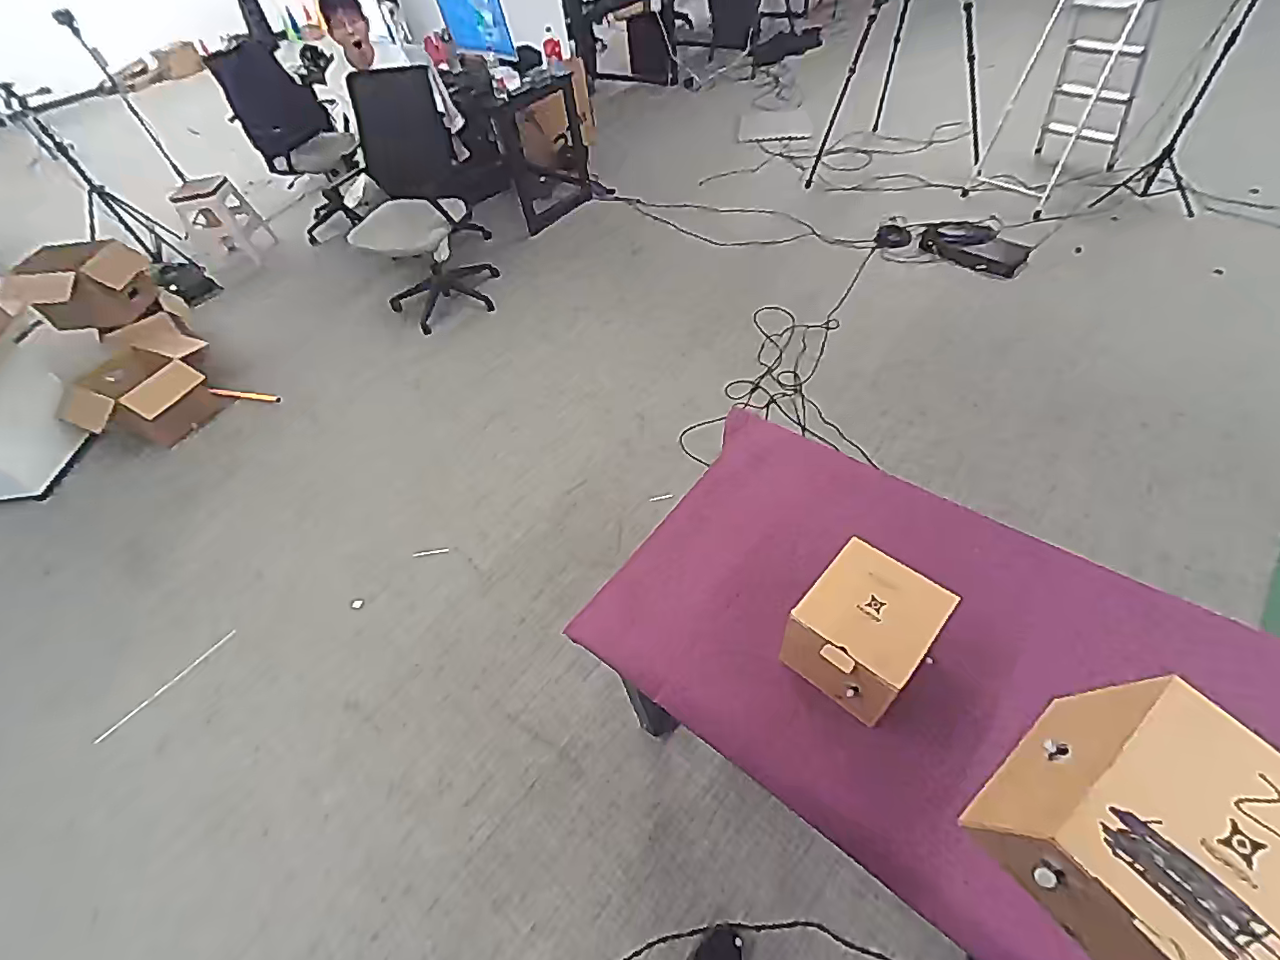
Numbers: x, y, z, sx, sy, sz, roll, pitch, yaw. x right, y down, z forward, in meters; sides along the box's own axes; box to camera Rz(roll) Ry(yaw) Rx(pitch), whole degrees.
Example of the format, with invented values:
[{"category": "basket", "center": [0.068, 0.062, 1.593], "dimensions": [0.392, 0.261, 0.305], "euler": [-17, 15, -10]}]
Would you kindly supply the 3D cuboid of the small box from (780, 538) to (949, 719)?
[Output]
[{"category": "small box", "center": [0.331, 0.232, 0.831], "dimensions": [0.168, 0.176, 0.179], "euler": [35, 62, 30]}]
